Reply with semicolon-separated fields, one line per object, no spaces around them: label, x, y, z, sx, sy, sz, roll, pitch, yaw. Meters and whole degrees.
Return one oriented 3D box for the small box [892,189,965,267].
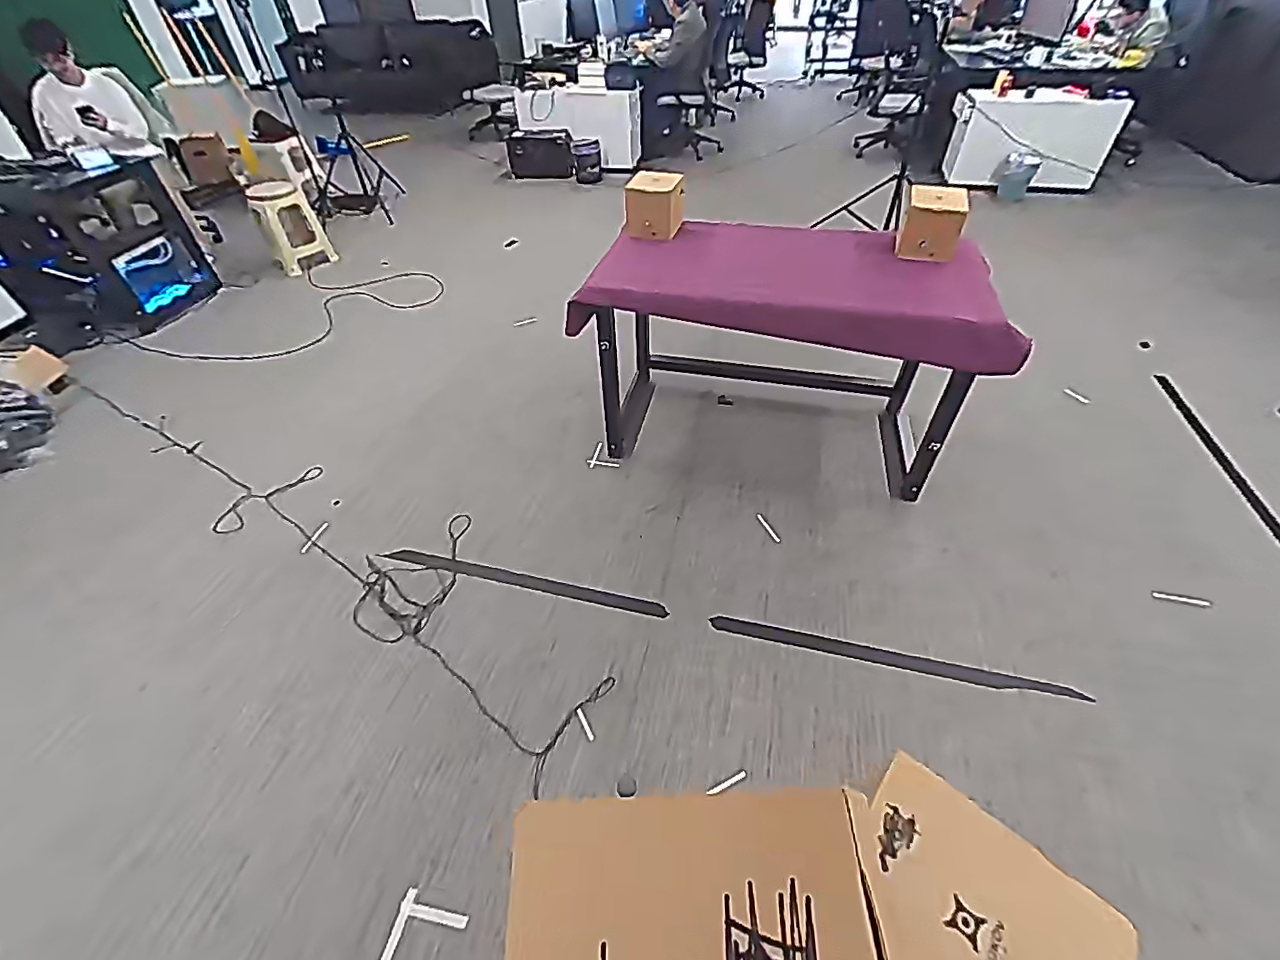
small box;0.936;-0.823;1.766;0.168;0.176;0.179;12;51;14

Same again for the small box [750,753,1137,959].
small box;0.215;0.359;0.415;0.179;0.176;0.168;36;49;24

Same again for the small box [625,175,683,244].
small box;0.050;-0.974;1.943;0.168;0.176;0.179;12;49;13
